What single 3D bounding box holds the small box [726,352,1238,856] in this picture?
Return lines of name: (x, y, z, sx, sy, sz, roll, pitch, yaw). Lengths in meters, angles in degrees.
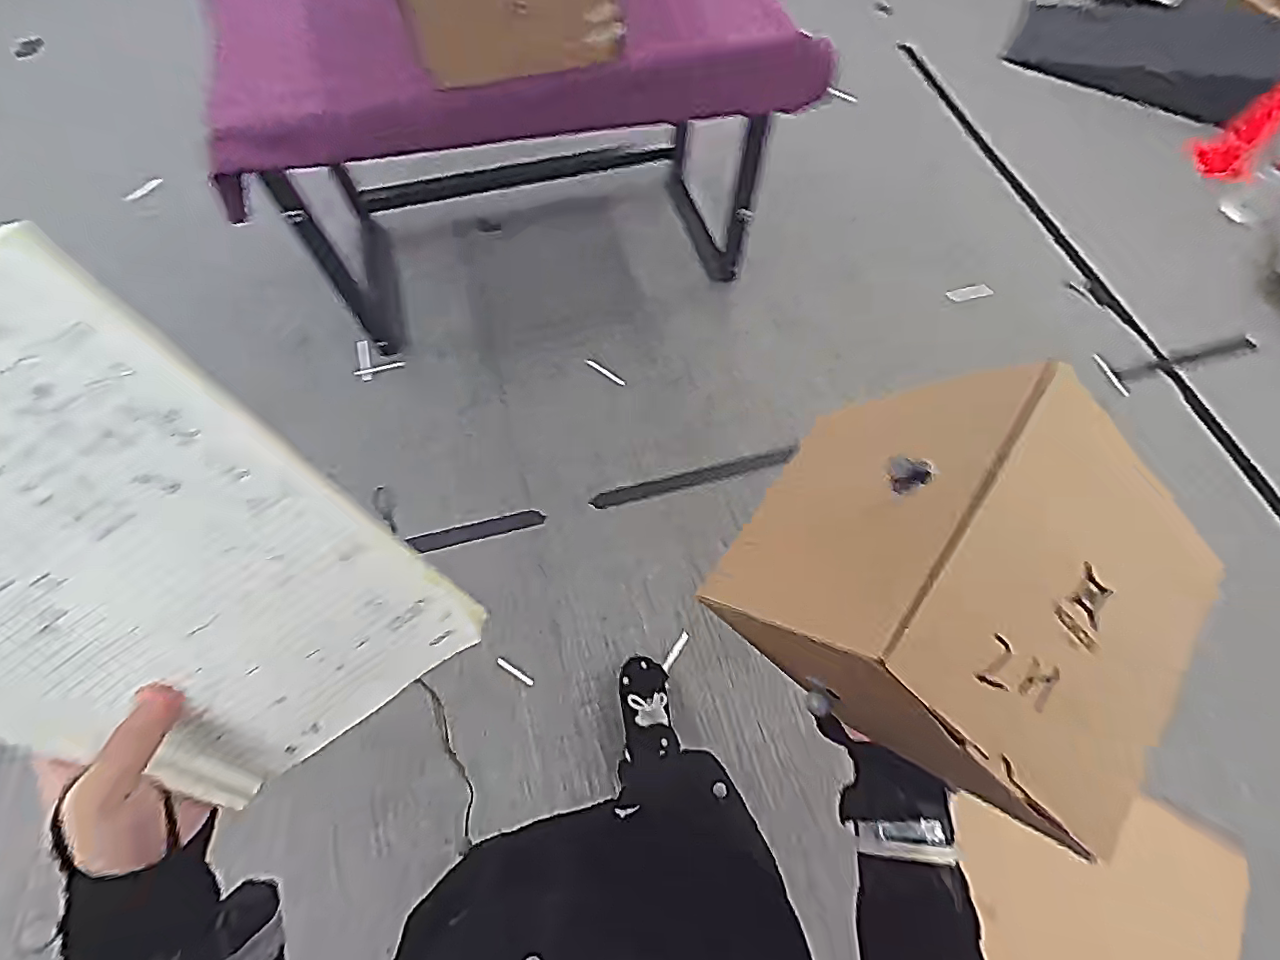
small box: (0.183, 0.058, 0.324, 0.168, 0.176, 0.179, 42, 75, -13)
